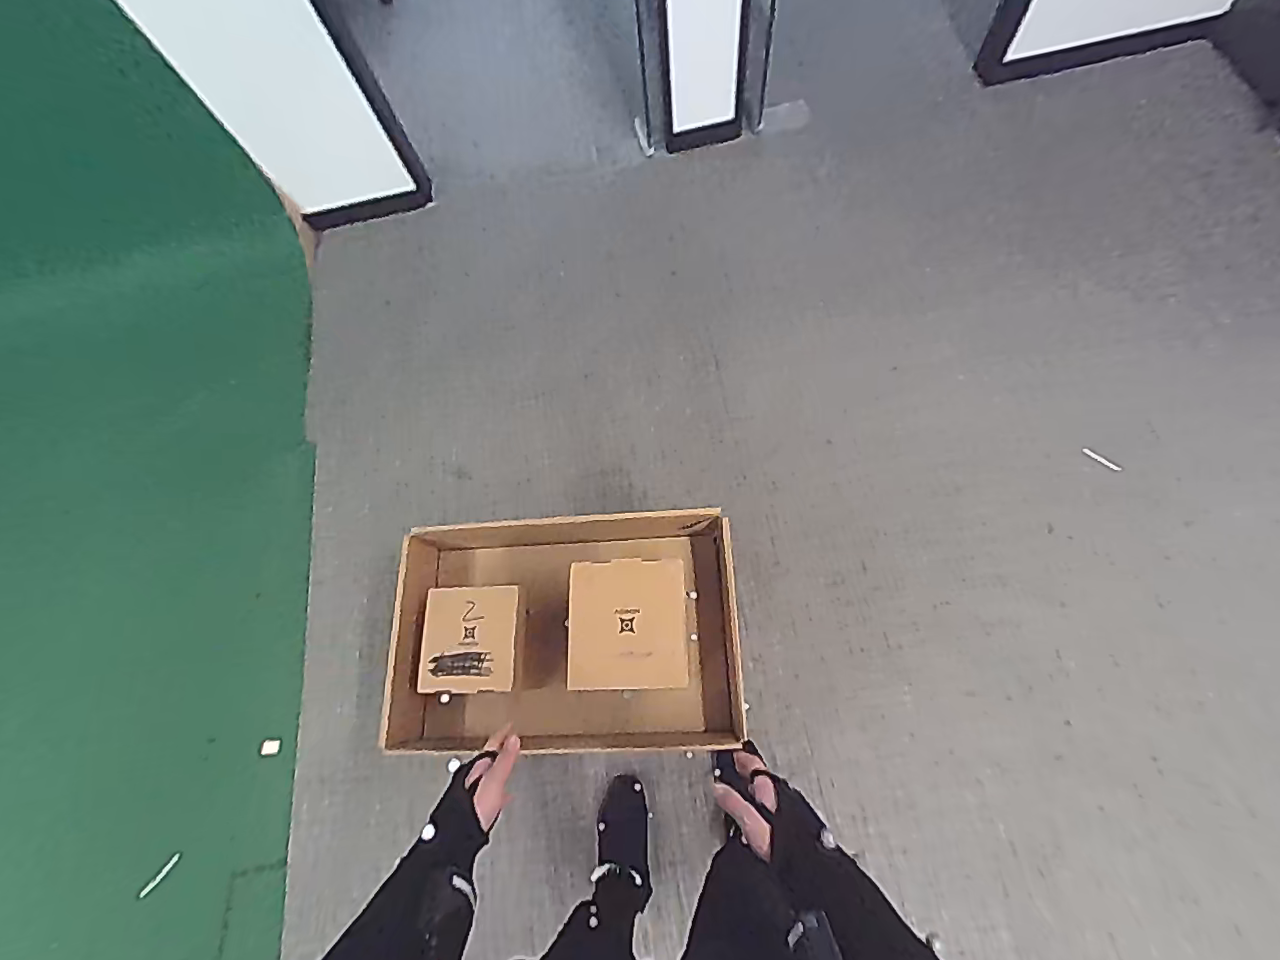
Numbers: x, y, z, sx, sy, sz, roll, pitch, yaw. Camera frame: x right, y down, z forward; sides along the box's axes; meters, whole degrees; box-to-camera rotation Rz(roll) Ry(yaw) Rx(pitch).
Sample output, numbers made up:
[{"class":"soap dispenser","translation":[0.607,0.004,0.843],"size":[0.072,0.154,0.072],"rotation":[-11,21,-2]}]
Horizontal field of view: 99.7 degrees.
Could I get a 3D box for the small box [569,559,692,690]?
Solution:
[{"class":"small box","translation":[-0.007,0.223,0.819],"size":[0.168,0.176,0.179],"rotation":[-2,70,6]}]
